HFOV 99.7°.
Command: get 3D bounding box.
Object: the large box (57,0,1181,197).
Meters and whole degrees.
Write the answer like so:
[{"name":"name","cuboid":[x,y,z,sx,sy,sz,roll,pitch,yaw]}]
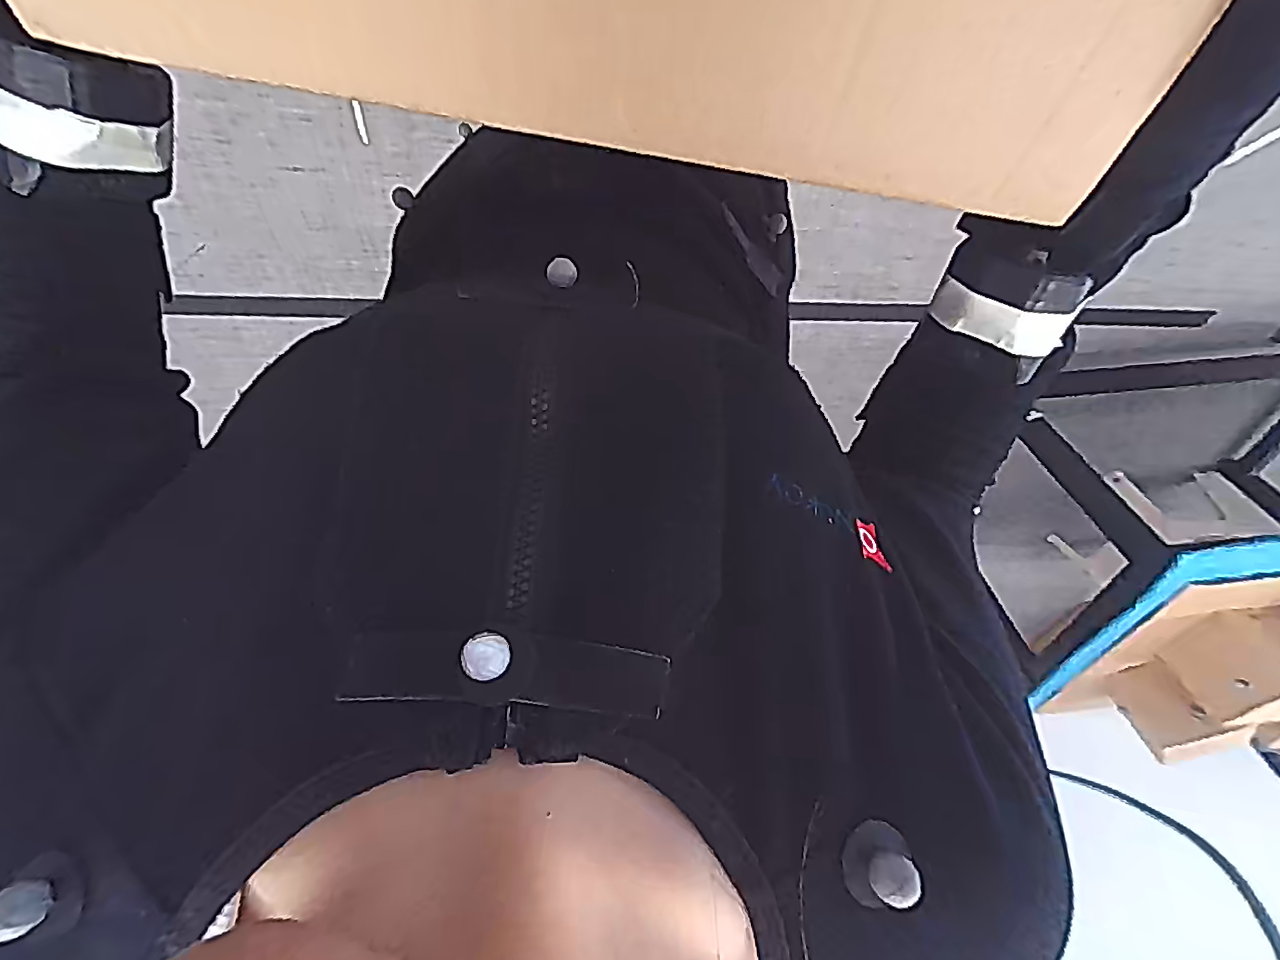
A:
[{"name":"large box","cuboid":[0.010,-0.355,0.199,0.408,0.320,0.320,7,139,-6]}]
